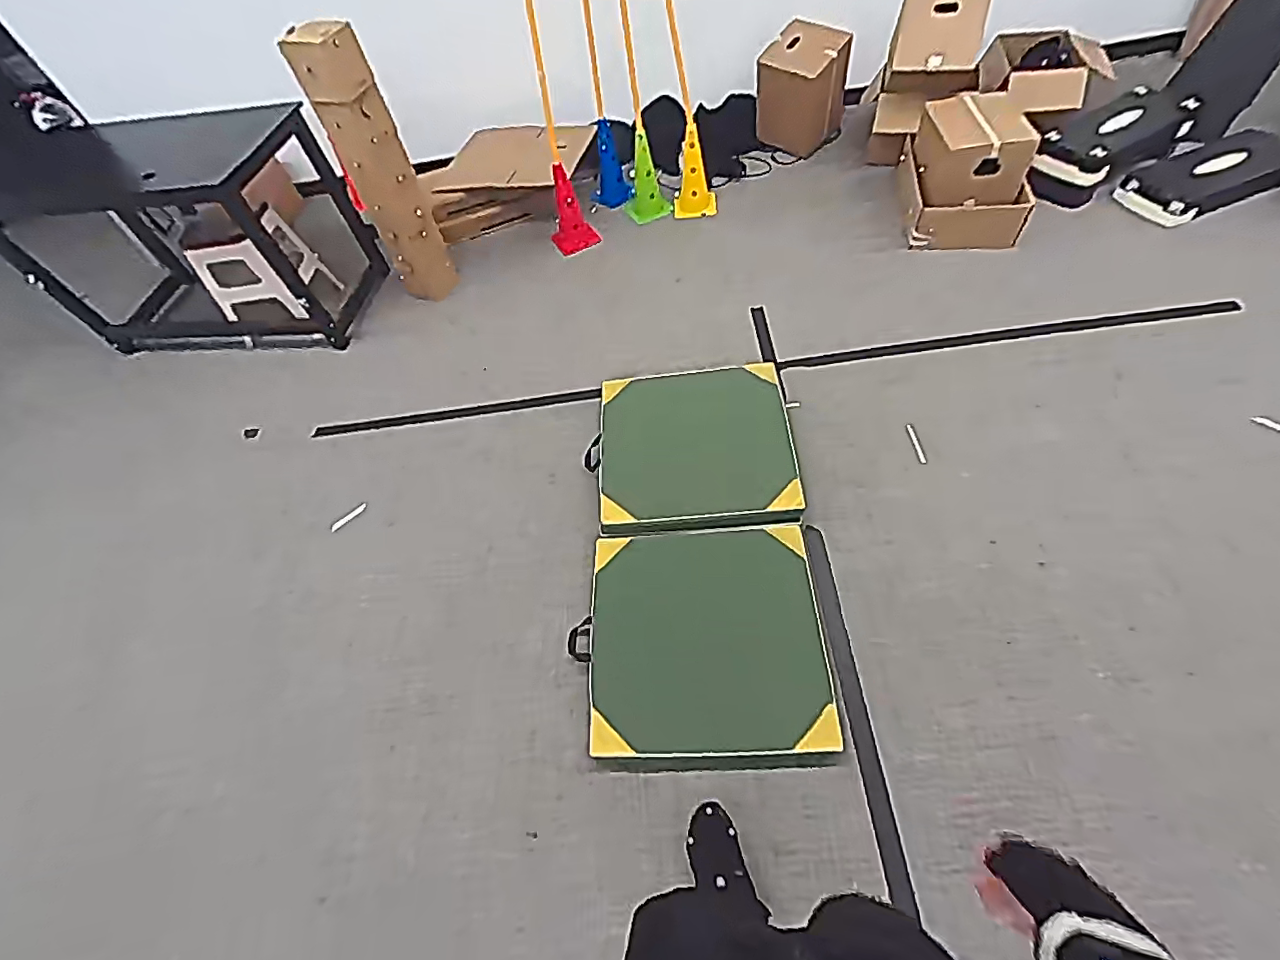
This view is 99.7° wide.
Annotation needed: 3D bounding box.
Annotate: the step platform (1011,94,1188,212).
[{"bbox_3d":[1.969,-1.414,2.324,0.684,0.204,0.286,-31,57,-11],"label":"step platform"}]
